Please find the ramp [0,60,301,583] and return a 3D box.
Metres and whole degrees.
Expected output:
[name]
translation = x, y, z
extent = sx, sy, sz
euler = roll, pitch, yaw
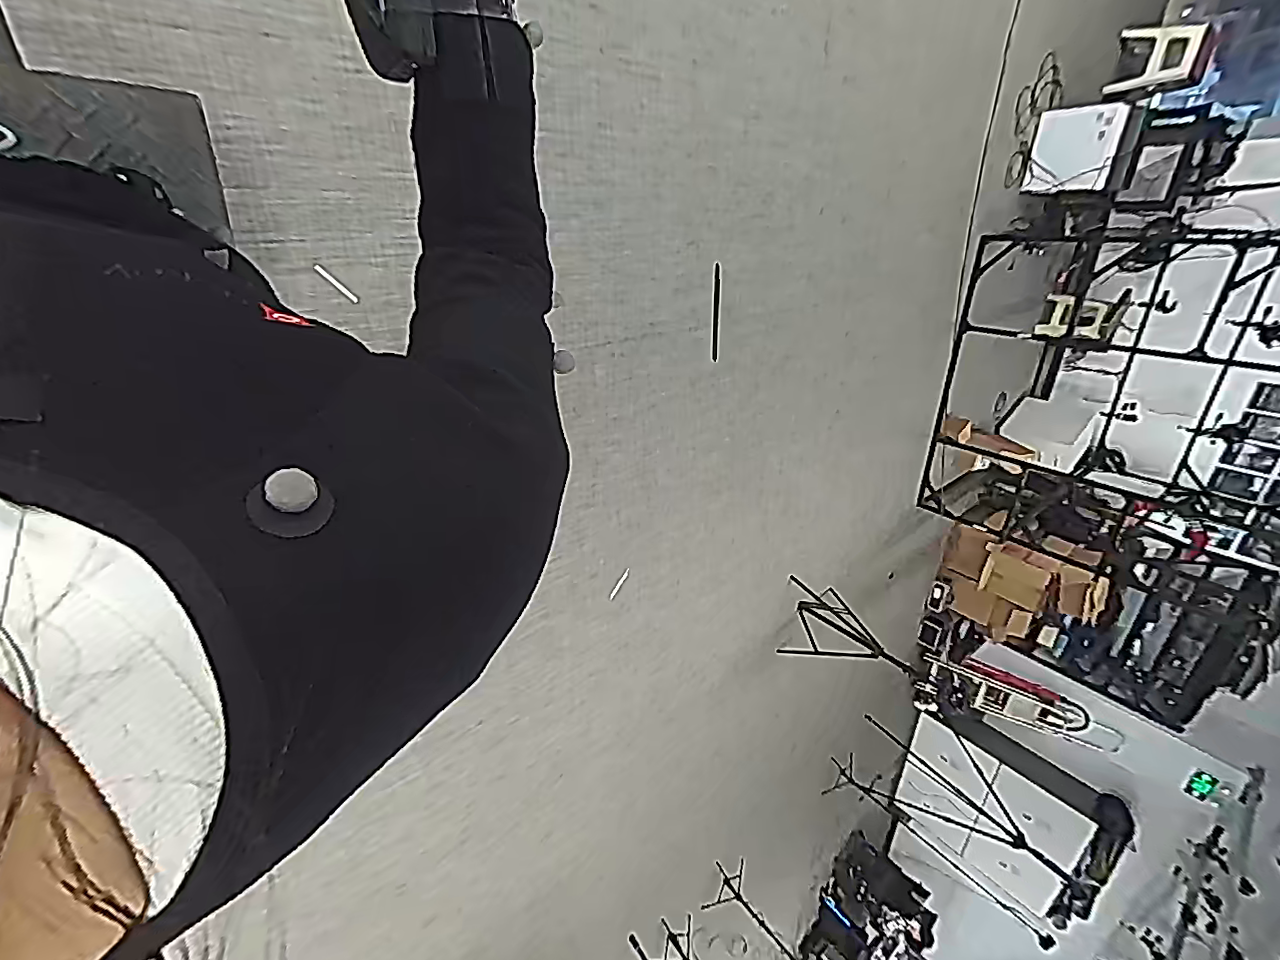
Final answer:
[ramp]
translation = -1.060, -0.238, 1.103
extent = 0.509, 0.206, 0.991
euler = -20, 123, -35
